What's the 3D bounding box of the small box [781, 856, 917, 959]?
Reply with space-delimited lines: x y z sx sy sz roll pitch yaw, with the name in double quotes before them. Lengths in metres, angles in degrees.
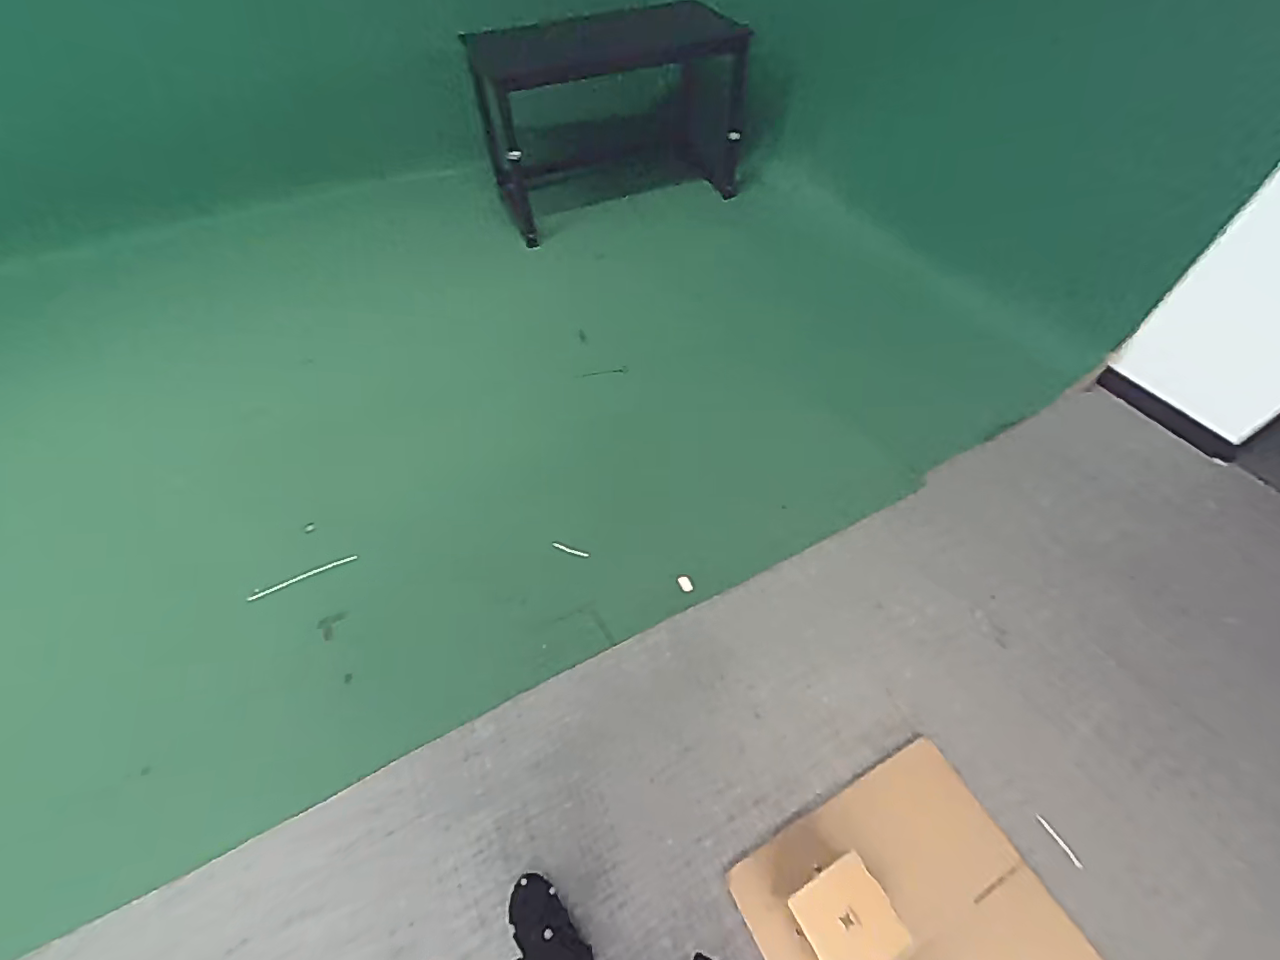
"small box" 0.398 0.886 1.072 0.179 0.176 0.168 -25 56 -17
